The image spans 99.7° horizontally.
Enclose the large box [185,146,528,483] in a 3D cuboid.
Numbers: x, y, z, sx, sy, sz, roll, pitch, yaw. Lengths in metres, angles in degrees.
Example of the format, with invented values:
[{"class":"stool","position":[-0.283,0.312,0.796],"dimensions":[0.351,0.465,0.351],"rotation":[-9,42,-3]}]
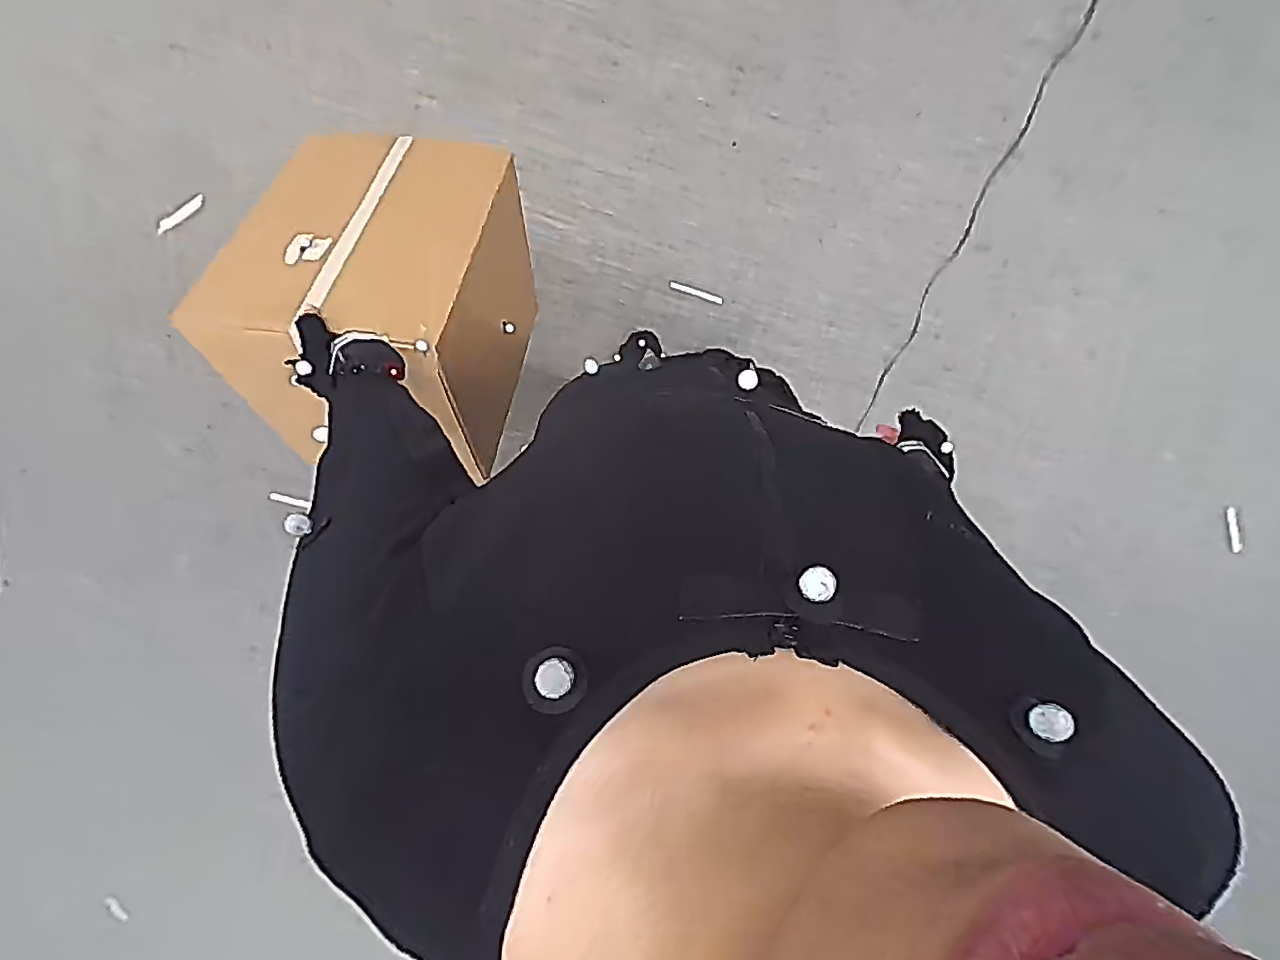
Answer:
[{"class":"large box","position":[-0.381,-0.253,0.864],"dimensions":[0.320,0.320,0.408],"rotation":[6,61,2]}]
